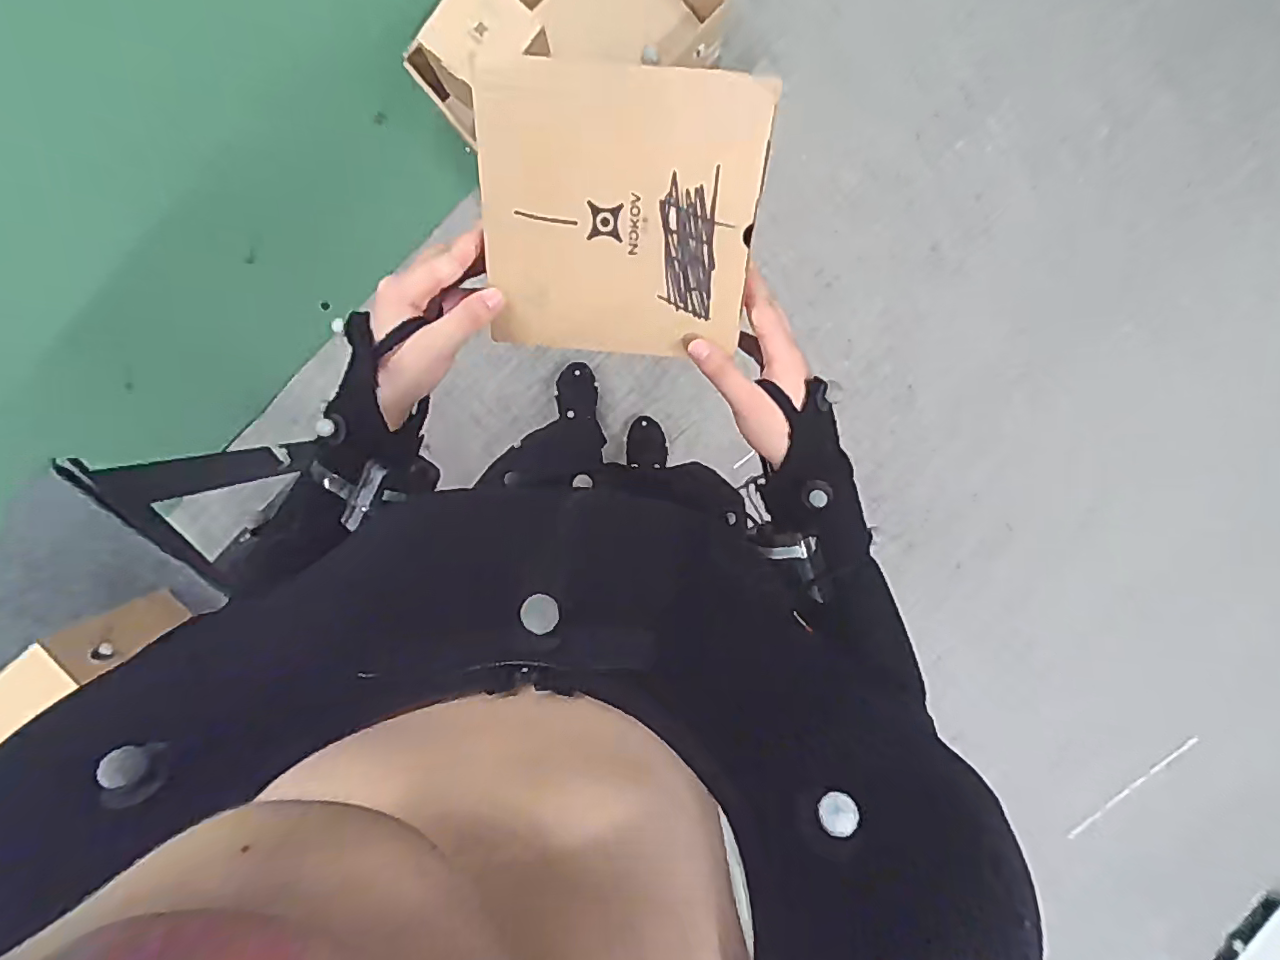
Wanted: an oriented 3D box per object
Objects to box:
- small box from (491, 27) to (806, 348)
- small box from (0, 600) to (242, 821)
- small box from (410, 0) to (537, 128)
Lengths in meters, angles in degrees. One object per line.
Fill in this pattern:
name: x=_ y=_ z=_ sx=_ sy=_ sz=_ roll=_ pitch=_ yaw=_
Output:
small box: x=0.001 y=-0.211 z=0.402 sx=0.179 sy=0.176 sz=0.168 roll=5 pitch=122 yaw=0
small box: x=-0.685 y=0.279 z=0.701 sx=0.168 sy=0.176 sz=0.179 roll=-37 pitch=98 yaw=8
small box: x=-0.301 y=-0.836 z=1.048 sx=0.168 sy=0.176 sz=0.179 roll=39 pitch=95 yaw=-8
